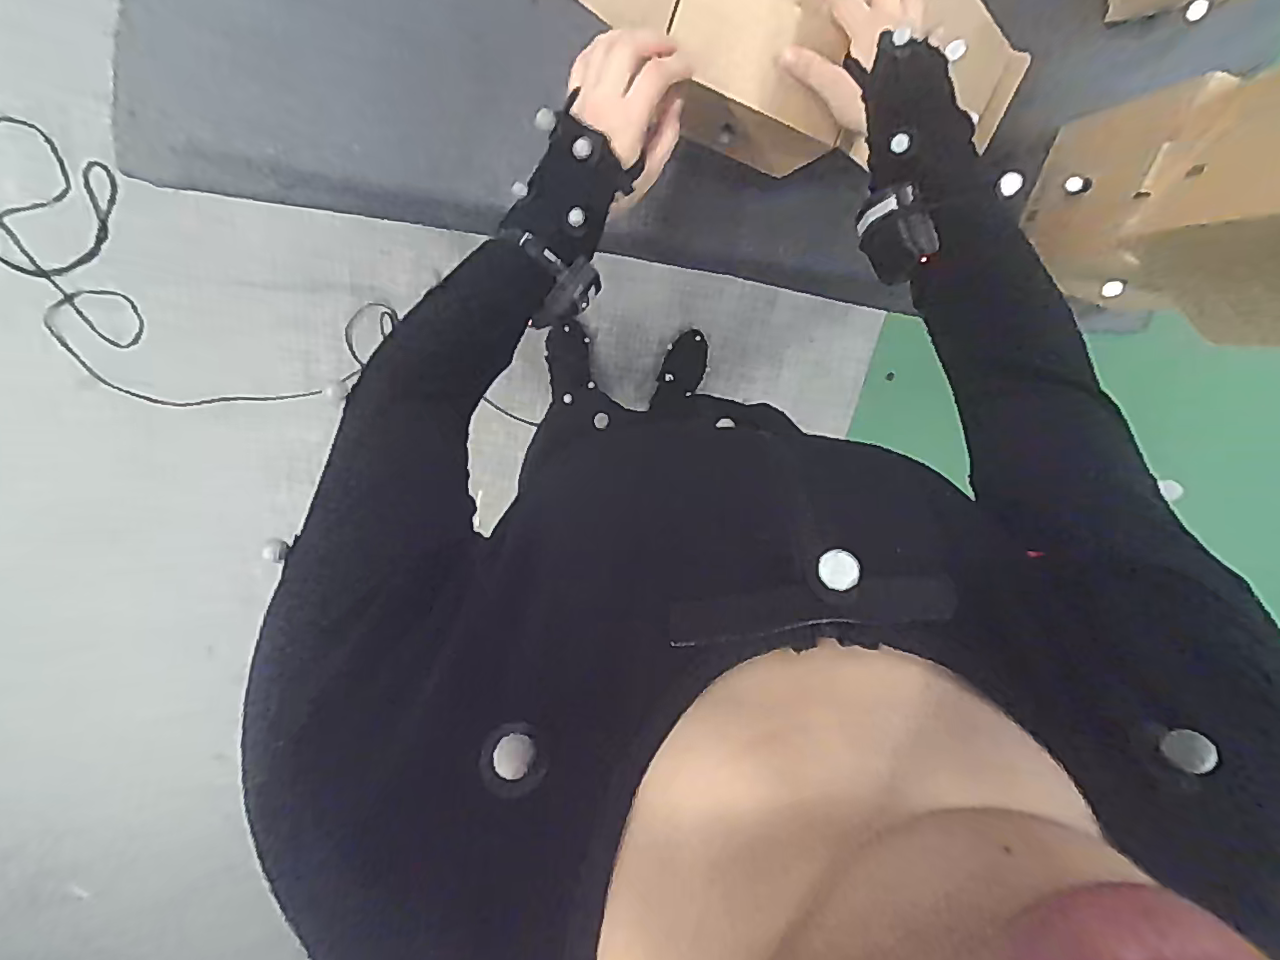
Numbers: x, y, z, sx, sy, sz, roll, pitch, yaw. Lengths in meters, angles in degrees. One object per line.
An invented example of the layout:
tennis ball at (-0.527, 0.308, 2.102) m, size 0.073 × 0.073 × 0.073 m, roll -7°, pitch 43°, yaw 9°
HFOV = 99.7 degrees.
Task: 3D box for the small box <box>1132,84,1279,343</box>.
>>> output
small box at (0.572, -0.221, 0.437) m, size 0.179 × 0.176 × 0.168 m, roll 34°, pitch 102°, yaw -15°

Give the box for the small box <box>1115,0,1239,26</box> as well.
small box at (0.582, -0.561, 0.486) m, size 0.168 × 0.176 × 0.179 m, roll -11°, pitch 113°, yaw 3°

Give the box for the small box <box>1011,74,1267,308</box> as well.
small box at (0.559, -0.288, 0.585) m, size 0.179 × 0.176 × 0.168 m, roll 14°, pitch 107°, yaw -8°
